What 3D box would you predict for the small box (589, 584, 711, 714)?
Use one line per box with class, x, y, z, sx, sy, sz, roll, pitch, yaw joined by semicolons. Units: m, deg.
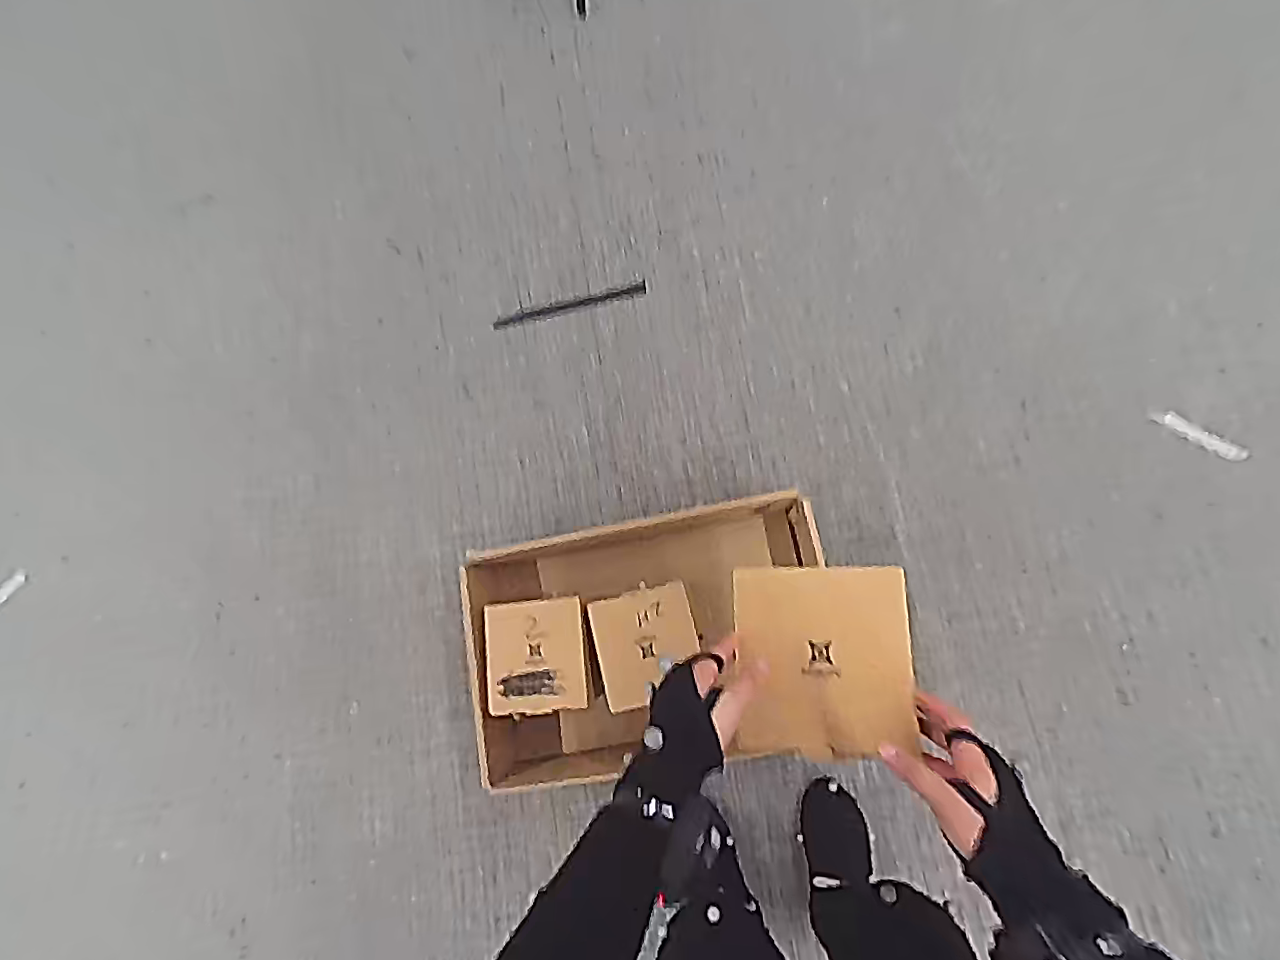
small box;0.025;0.283;0.941;0.168;0.176;0.179;-15;77;5
